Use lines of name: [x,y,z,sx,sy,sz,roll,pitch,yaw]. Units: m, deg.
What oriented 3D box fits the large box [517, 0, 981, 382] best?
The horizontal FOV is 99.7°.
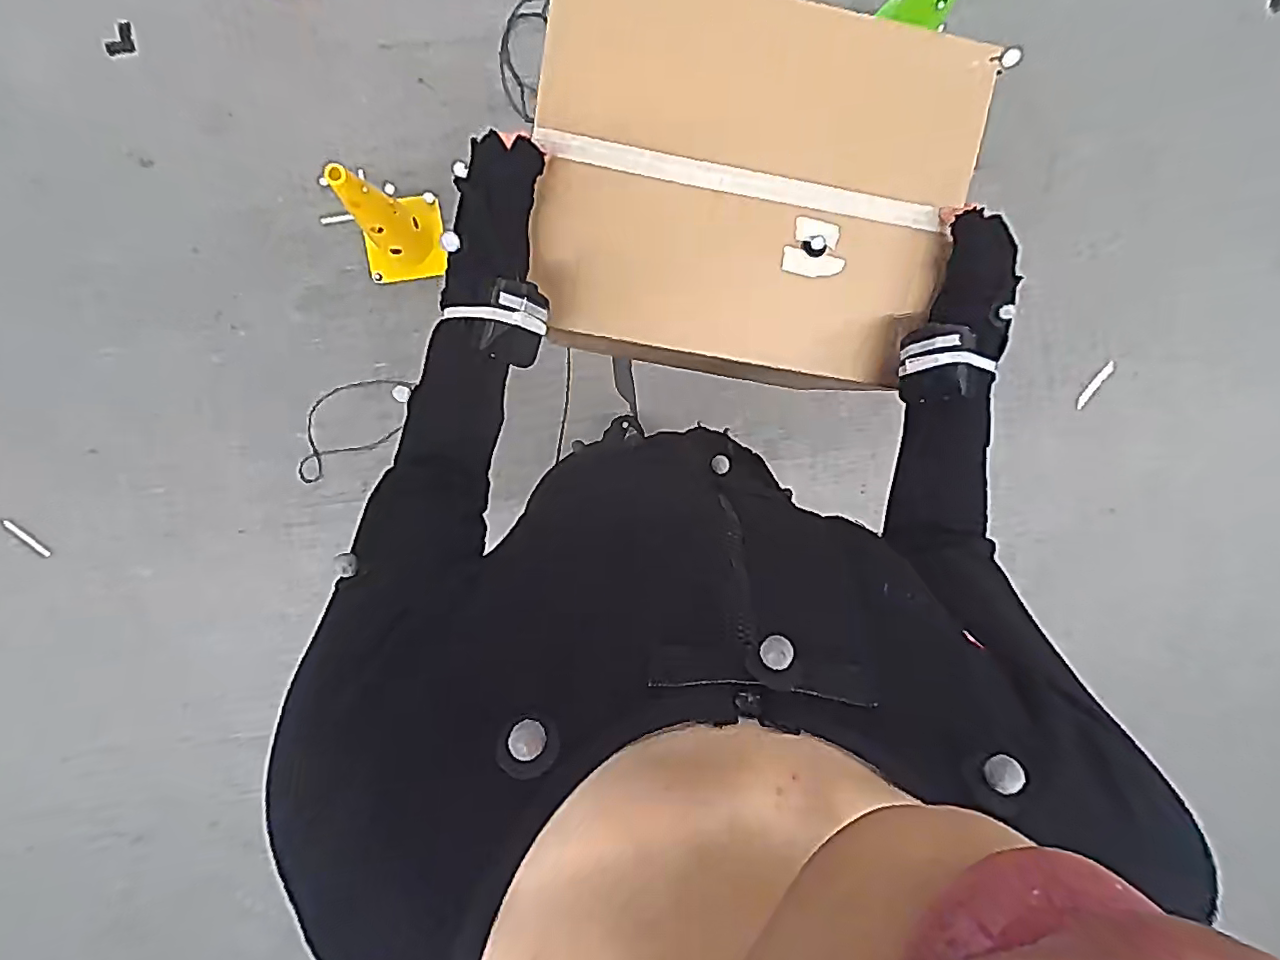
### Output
large box: [0.087,-0.301,0.648,0.408,0.320,0.320,8,99,-5]
